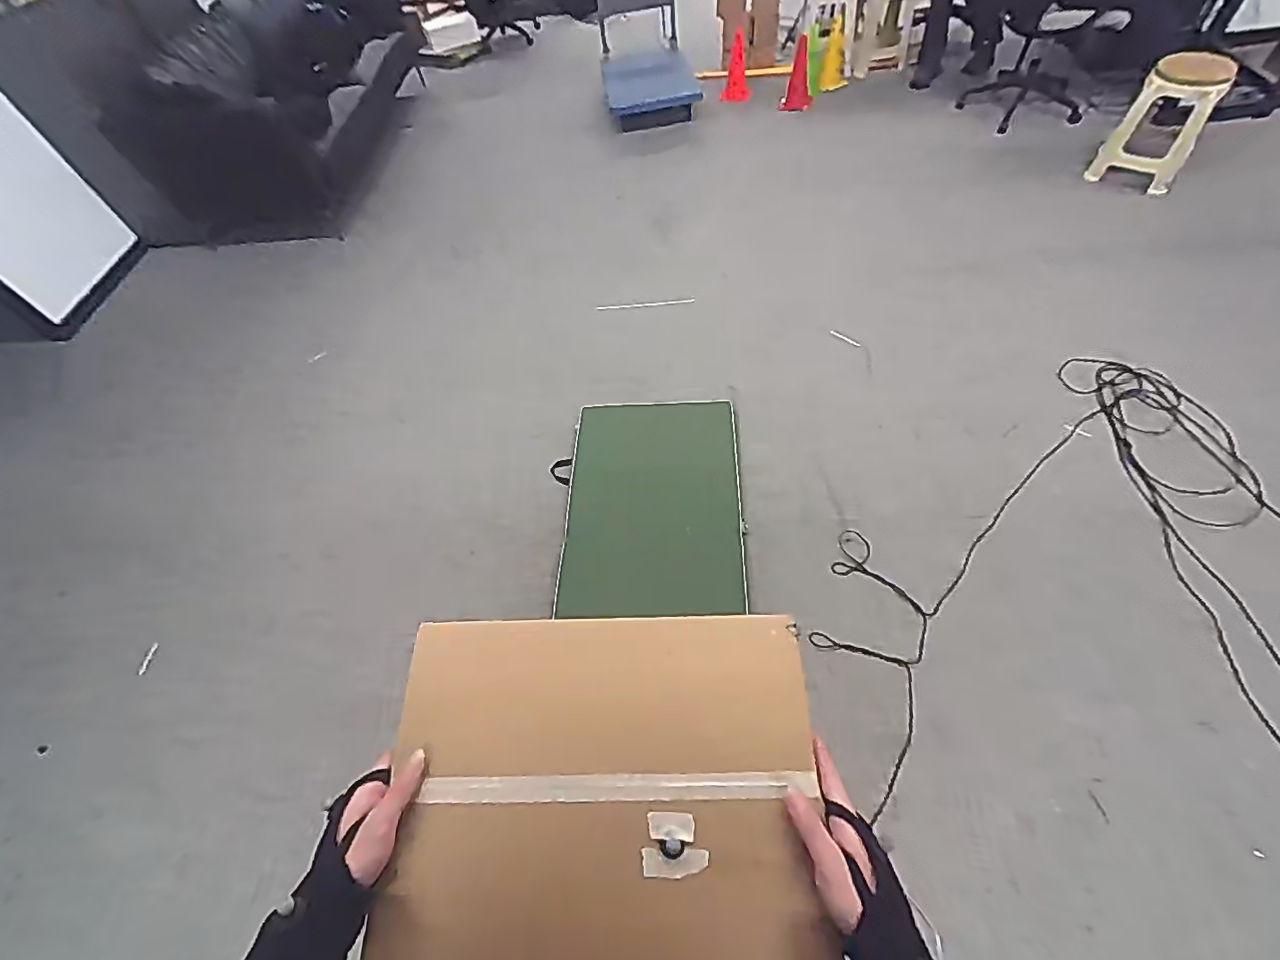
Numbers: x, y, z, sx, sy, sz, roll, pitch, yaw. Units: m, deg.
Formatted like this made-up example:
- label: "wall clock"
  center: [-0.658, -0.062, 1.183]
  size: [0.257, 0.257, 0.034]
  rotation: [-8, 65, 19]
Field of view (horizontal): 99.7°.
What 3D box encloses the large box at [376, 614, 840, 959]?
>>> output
- label: "large box"
  center: [-0.028, 0.359, 0.652]
  size: [0.408, 0.320, 0.320]
  rotation: [-2, 63, 2]
